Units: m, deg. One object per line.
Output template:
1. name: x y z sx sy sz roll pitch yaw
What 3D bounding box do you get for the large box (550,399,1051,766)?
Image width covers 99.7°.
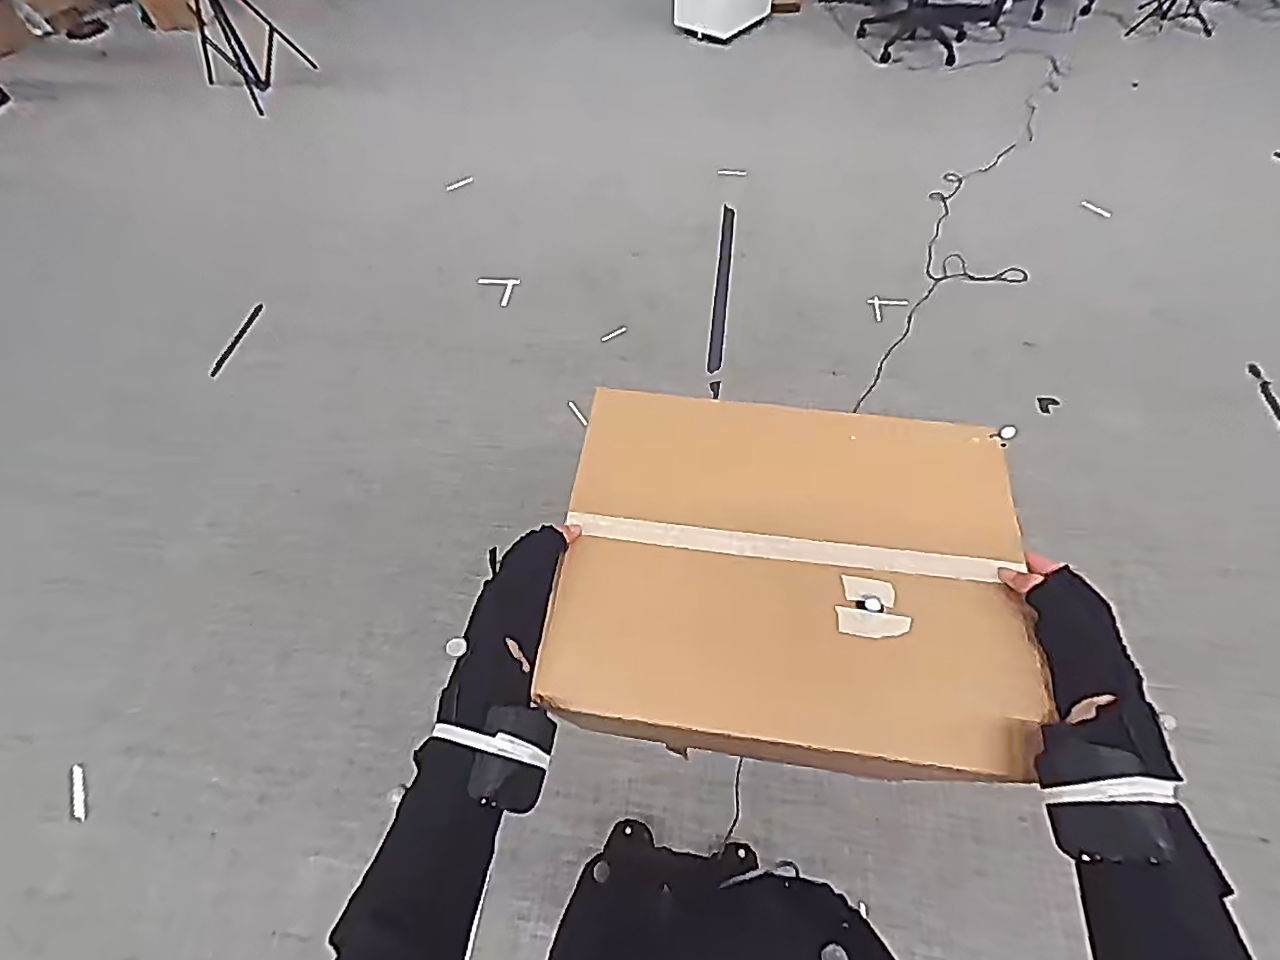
1. large box: 0.139 0.134 0.626 0.408 0.320 0.320 6 63 4
